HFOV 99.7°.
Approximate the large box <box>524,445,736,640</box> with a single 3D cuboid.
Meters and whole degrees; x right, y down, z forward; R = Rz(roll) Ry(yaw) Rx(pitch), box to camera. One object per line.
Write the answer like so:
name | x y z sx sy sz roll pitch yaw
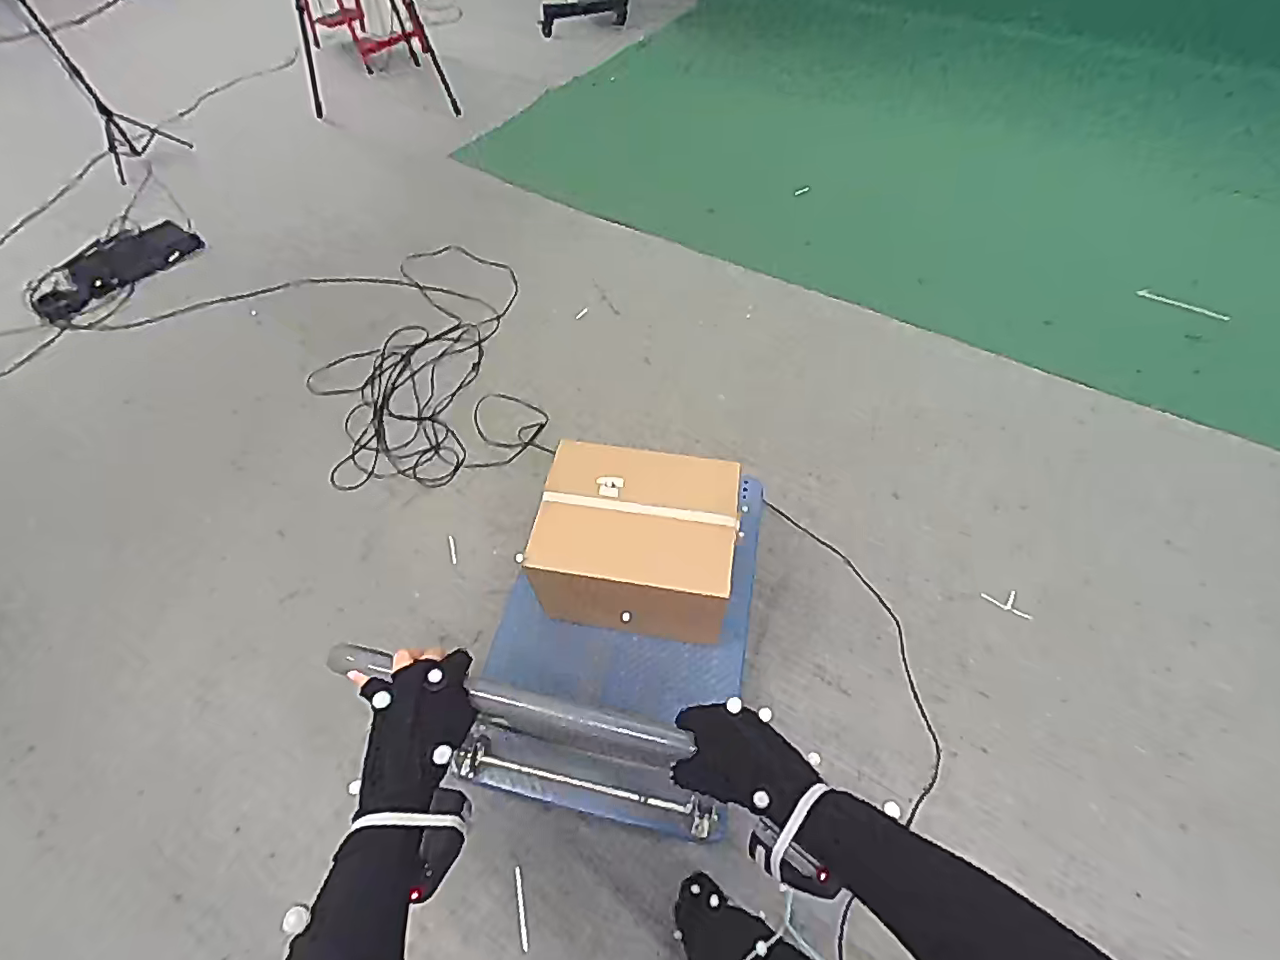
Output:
large box | -0.001 0.150 1.240 0.408 0.320 0.320 7 56 7
